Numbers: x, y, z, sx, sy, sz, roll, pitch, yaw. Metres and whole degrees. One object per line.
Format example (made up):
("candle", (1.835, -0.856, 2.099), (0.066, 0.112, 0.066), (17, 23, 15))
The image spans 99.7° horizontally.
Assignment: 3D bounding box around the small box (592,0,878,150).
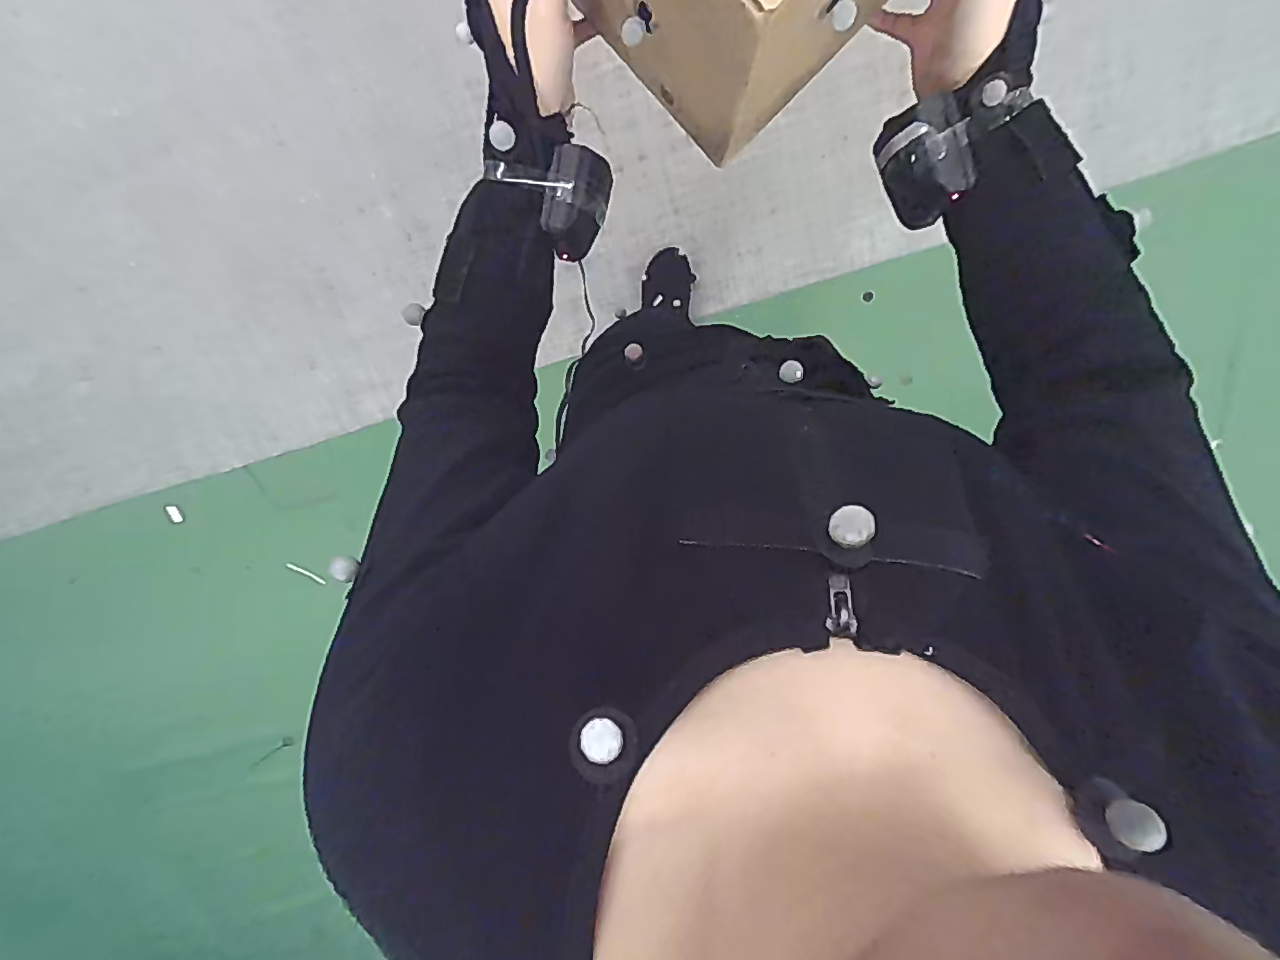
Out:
("small box", (0.064, -0.345, 0.318), (0.179, 0.176, 0.168), (-44, 95, 8))
